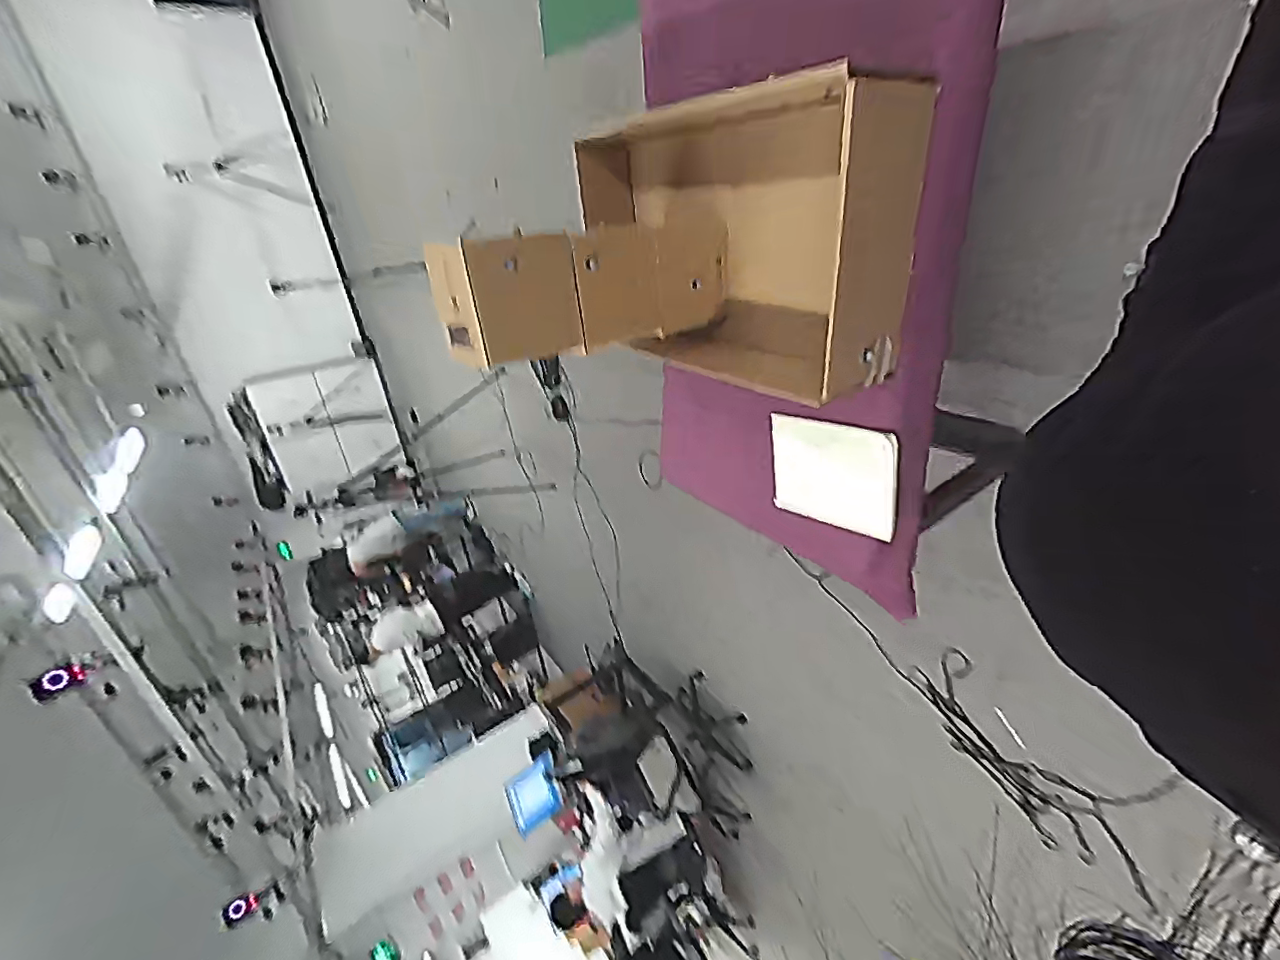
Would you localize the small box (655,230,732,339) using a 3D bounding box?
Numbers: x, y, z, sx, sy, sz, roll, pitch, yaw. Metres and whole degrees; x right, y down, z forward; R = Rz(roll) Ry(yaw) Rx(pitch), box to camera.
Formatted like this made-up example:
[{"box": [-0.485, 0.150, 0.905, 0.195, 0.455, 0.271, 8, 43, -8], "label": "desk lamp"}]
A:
[{"box": [0.062, -0.381, 1.034, 0.179, 0.176, 0.168, 28, 133, 46], "label": "small box"}]

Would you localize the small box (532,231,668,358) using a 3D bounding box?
[{"box": [-0.065, -0.329, 0.949, 0.168, 0.176, 0.179, 26, 130, 48], "label": "small box"}]
